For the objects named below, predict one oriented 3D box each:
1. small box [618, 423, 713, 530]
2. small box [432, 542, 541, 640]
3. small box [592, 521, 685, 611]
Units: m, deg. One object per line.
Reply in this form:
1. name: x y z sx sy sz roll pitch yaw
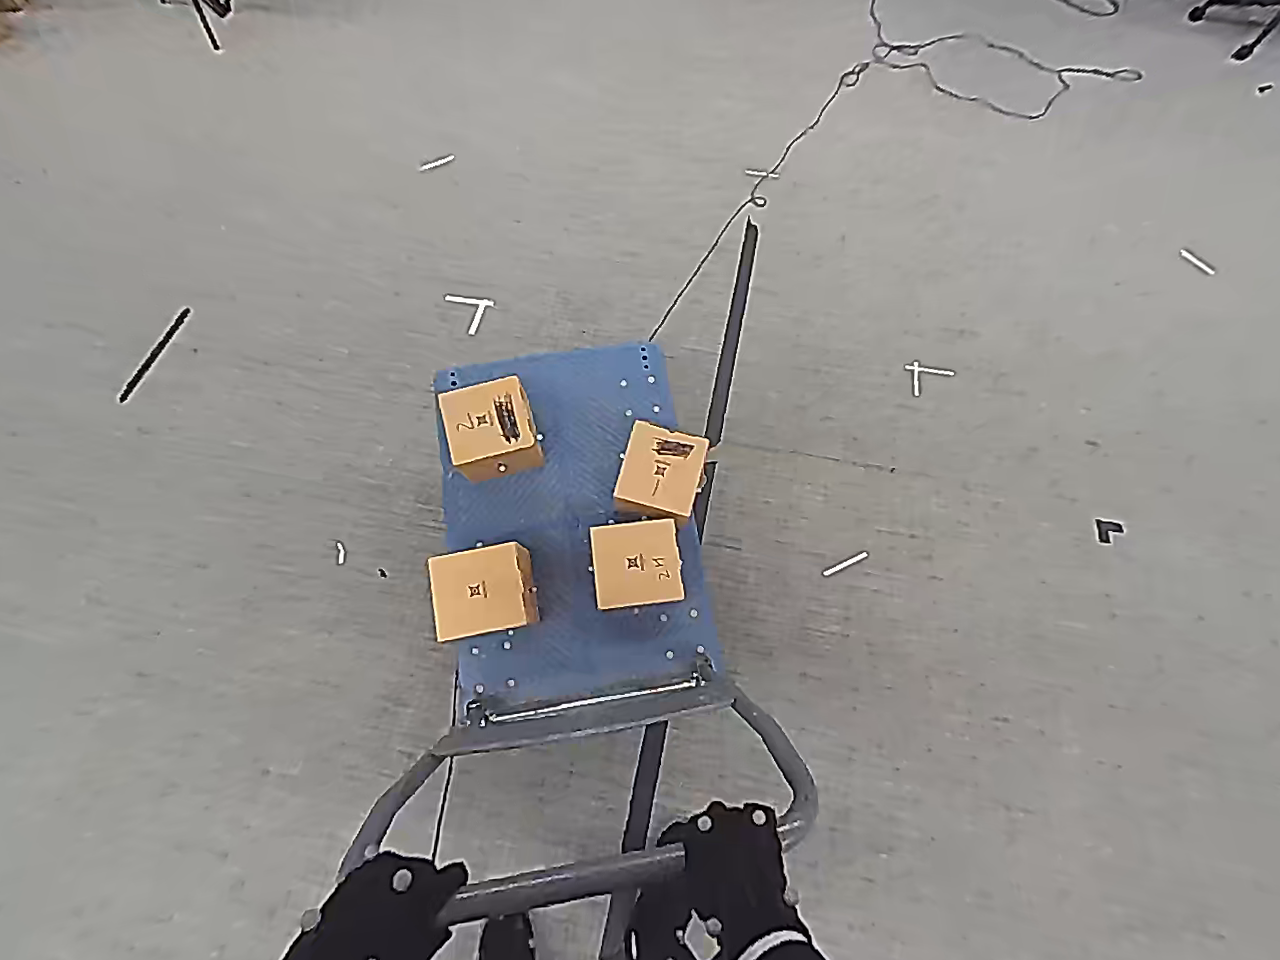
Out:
1. small box: 0.051 -0.002 1.206 0.168 0.176 0.179 16 77 3
2. small box: -0.317 0.237 1.138 0.179 0.176 0.168 -10 77 -6
3. small box: -0.004 0.189 1.157 0.179 0.176 0.168 -5 77 -3
